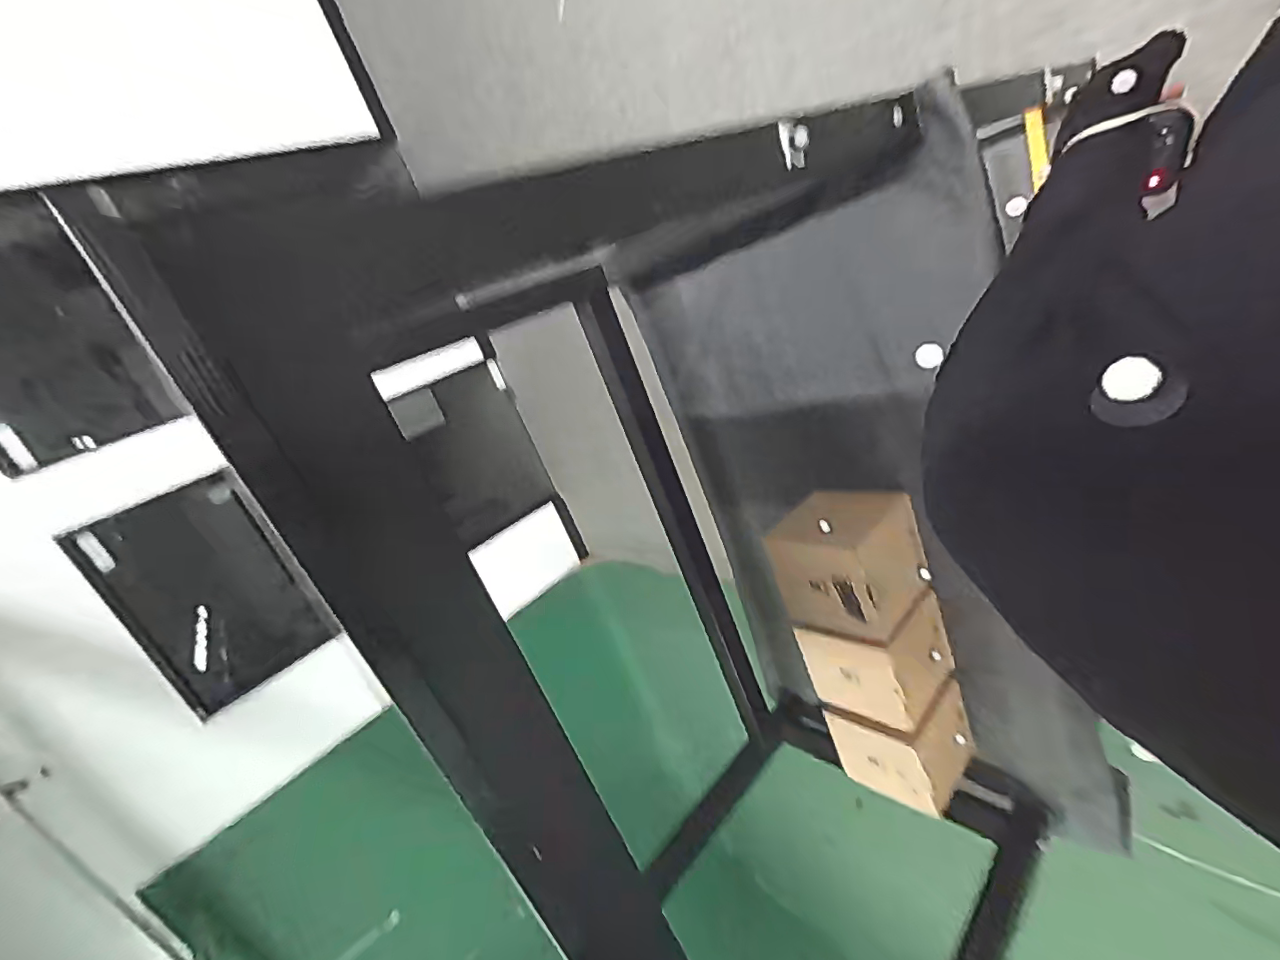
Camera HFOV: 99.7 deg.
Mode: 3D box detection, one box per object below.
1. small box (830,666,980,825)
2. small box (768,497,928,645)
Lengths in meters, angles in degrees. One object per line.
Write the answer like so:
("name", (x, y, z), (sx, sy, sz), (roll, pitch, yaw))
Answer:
("small box", (0.487, 0.471, 0.993), (0.179, 0.176, 0.168), (-1, 117, 54))
("small box", (0.349, 0.138, 0.891), (0.179, 0.176, 0.168), (0, 117, 54))
